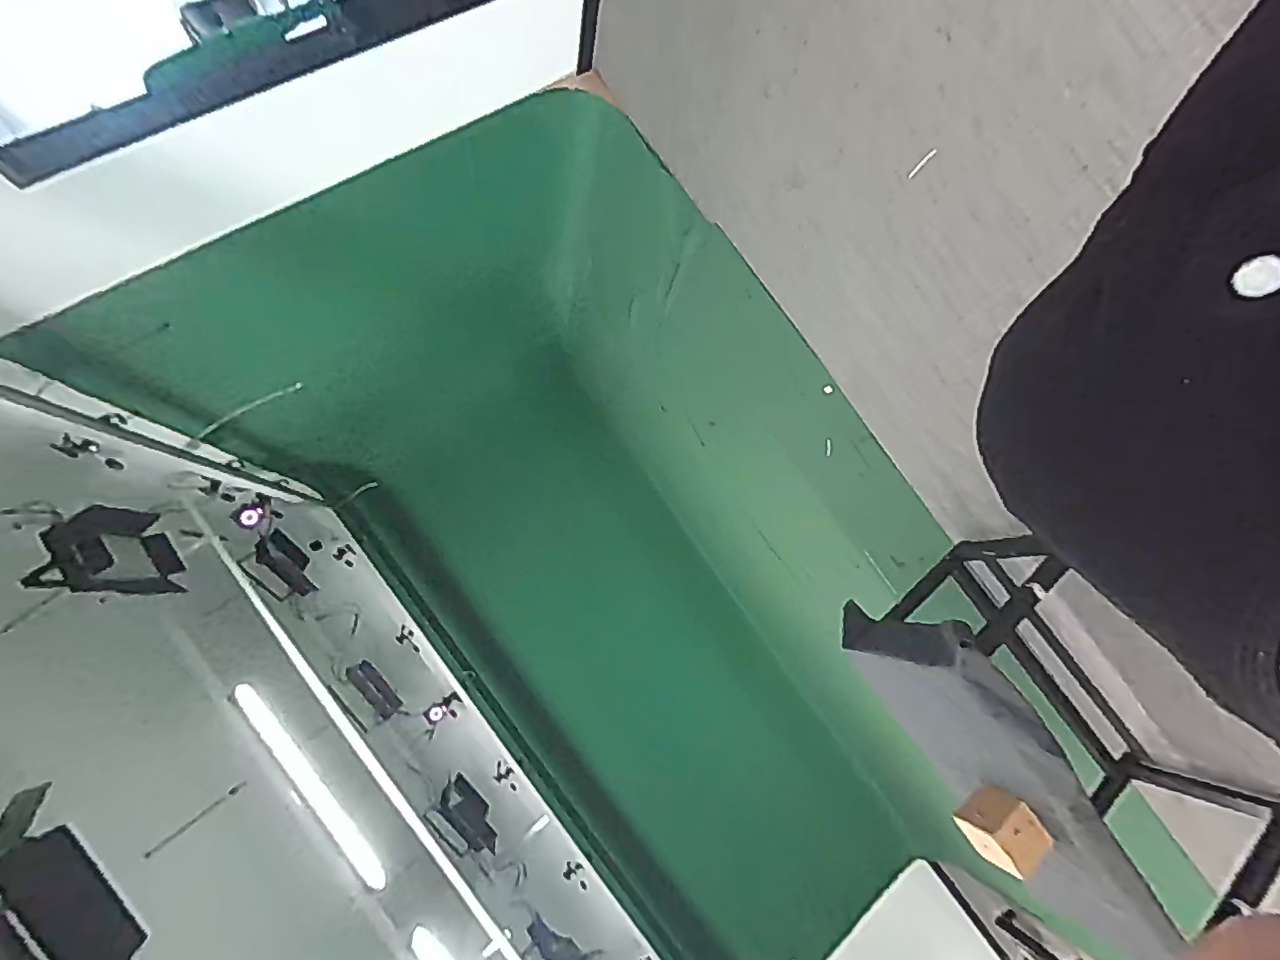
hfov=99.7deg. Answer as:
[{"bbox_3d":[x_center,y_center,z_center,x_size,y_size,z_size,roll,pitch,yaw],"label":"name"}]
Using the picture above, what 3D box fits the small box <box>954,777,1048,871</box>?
[{"bbox_3d":[1.202,1.128,1.791,0.168,0.176,0.179,54,166,2],"label":"small box"}]
